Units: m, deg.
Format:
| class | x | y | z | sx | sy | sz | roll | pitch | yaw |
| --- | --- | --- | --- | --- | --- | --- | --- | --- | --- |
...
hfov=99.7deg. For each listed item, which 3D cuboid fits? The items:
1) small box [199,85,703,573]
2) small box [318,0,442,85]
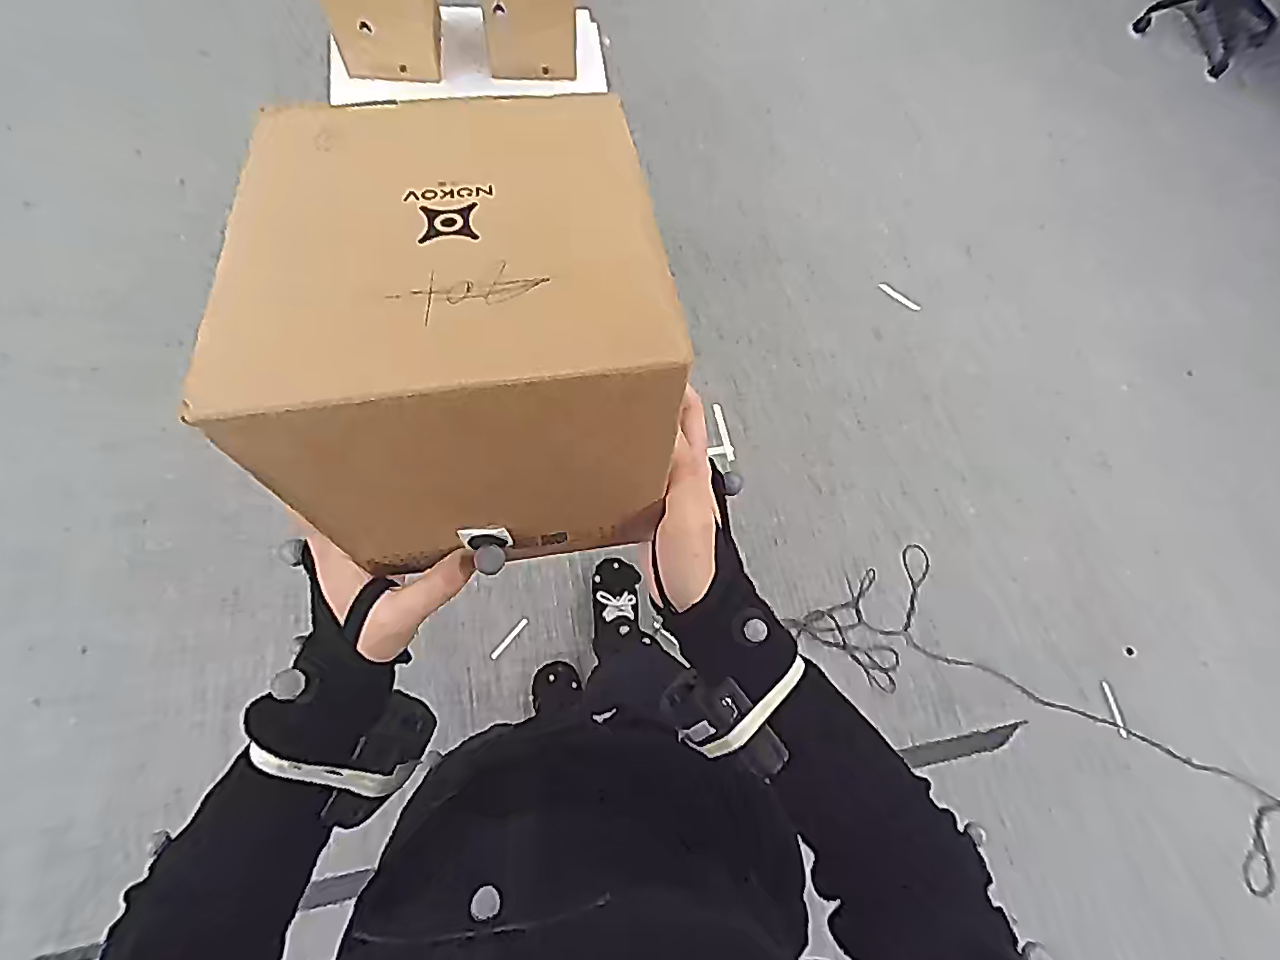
| class | x | y | z | sx | sy | sz | roll | pitch | yaw |
| --- | --- | --- | --- | --- | --- | --- | --- | --- | --- |
| small box | -0.076 | -0.069 | 0.286 | 0.168 | 0.176 | 0.179 | -9 | 63 | -7 |
| small box | -0.458 | -0.849 | 0.968 | 0.168 | 0.176 | 0.179 | -3 | 73 | -8 |
